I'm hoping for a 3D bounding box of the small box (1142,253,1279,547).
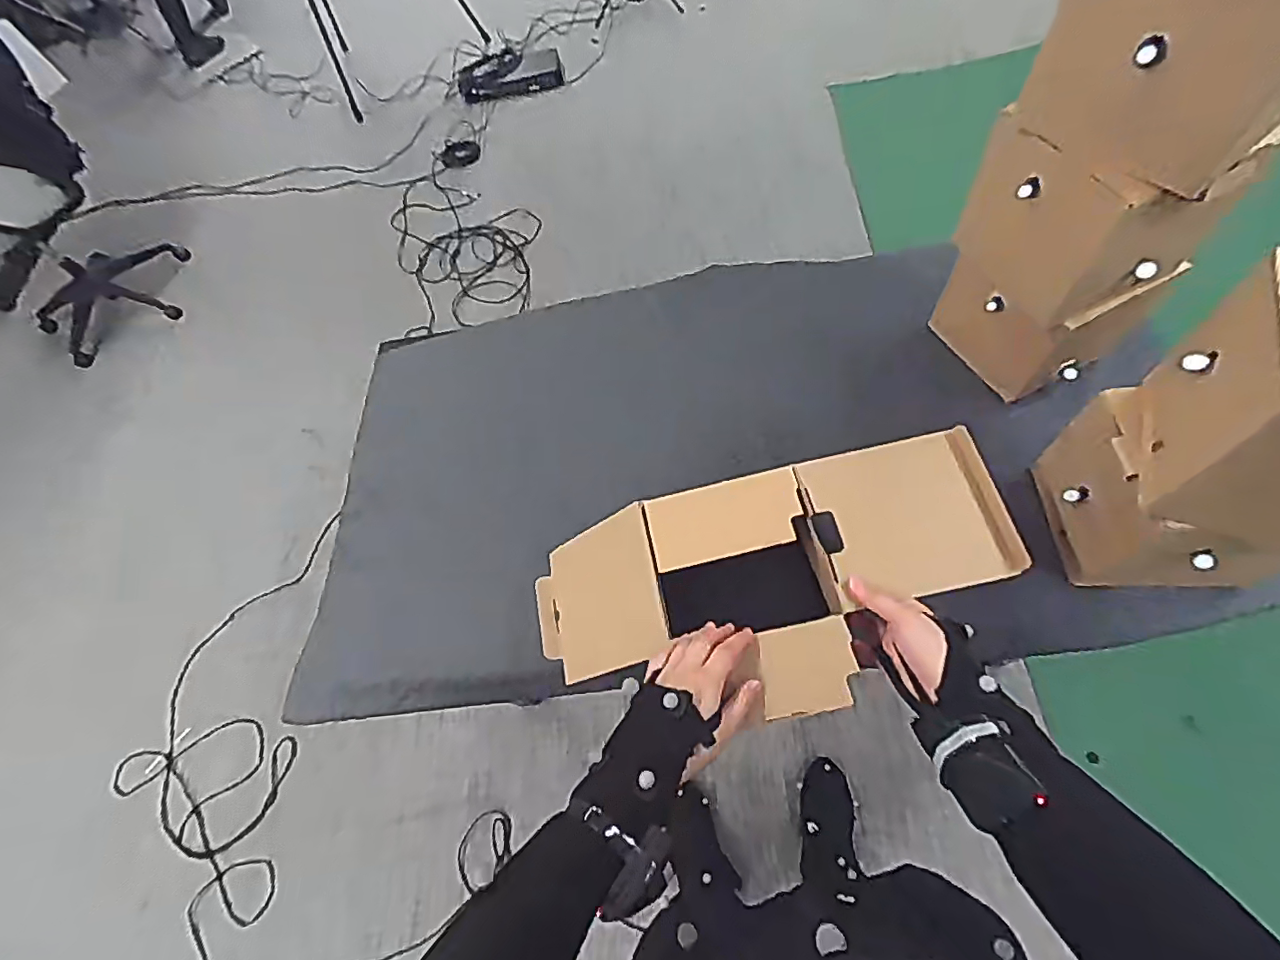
[{"bbox_3d":[0.559,-0.051,0.437,0.179,0.176,0.168,18,66,18],"label":"small box"}]

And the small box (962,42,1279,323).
[{"bbox_3d":[0.487,-0.306,0.577,0.168,0.176,0.179,-25,63,2],"label":"small box"}]

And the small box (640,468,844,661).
[{"bbox_3d":[0.111,0.107,0.626,0.179,0.176,0.168,-15,67,6],"label":"small box"}]

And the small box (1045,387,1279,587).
[{"bbox_3d":[0.581,0.013,0.587,0.179,0.176,0.168,-2,61,10],"label":"small box"}]

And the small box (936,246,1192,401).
[{"bbox_3d":[0.536,-0.240,0.721,0.168,0.176,0.179,-27,64,-1],"label":"small box"}]
